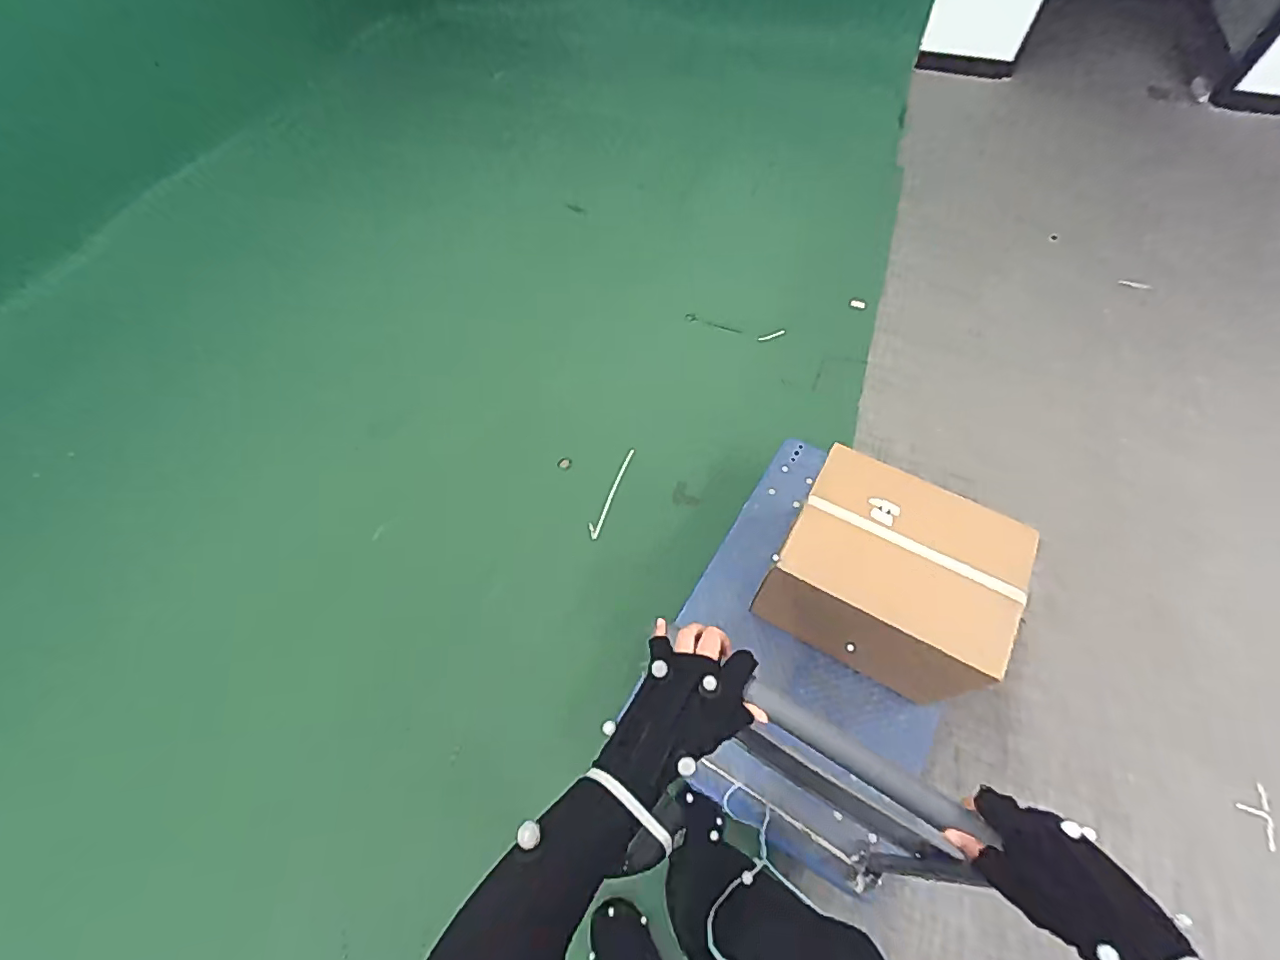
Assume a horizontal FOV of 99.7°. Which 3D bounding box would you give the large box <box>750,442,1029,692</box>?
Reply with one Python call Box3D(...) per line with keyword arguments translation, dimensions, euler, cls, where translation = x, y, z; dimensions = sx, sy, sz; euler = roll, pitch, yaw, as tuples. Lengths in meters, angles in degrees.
Box3D(translation=(0.491, 0.189, 1.132), dimensions=(0.408, 0.320, 0.320), euler=(26, 65, 17), cls="large box")
